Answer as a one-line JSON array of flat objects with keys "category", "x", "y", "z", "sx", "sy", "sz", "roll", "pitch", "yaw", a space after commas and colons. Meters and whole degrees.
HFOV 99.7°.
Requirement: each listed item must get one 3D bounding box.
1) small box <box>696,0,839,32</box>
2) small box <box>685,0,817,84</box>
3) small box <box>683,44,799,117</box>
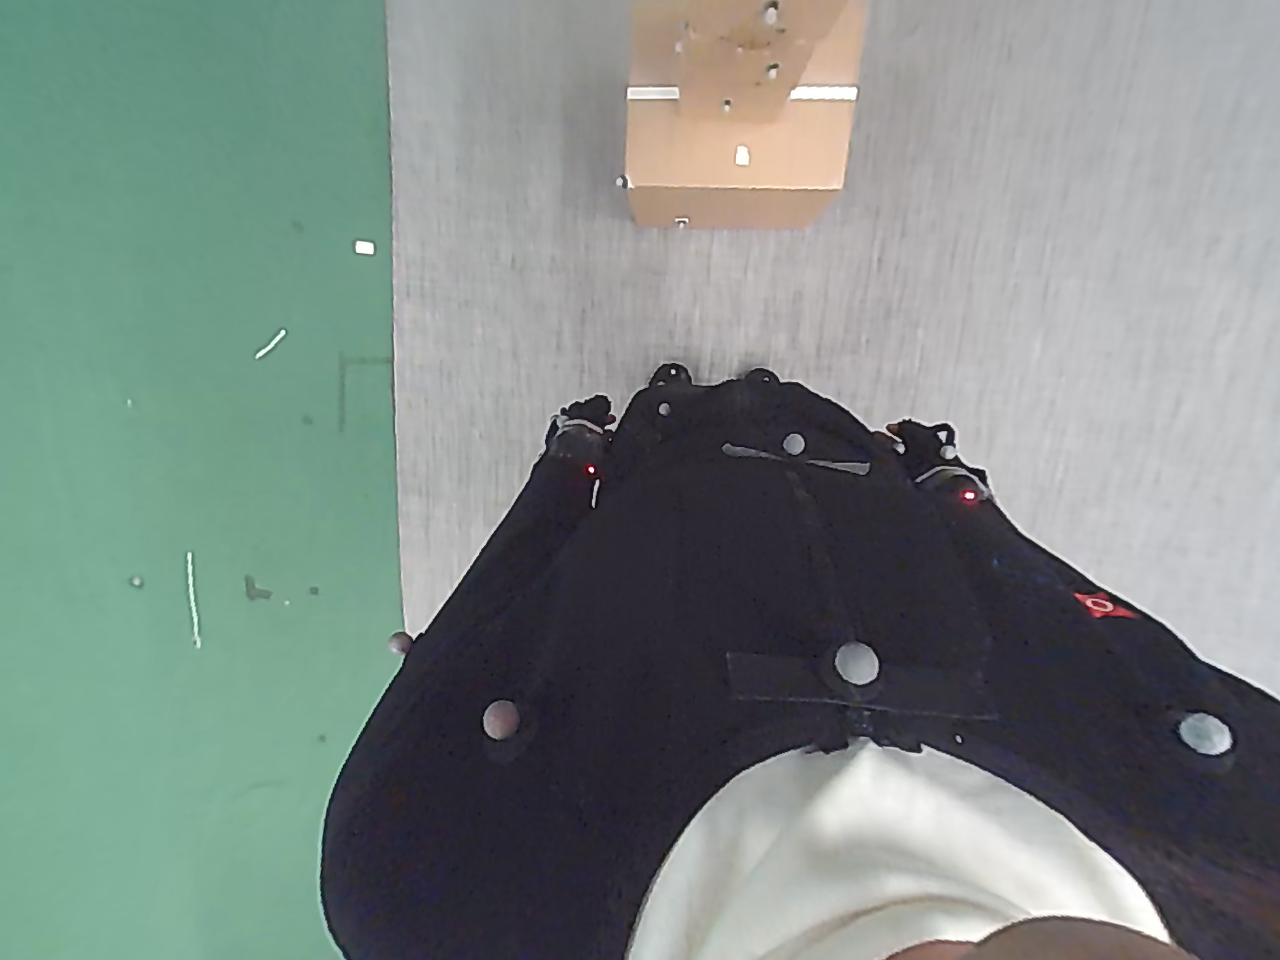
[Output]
[{"category": "small box", "x": 0.146, "y": -0.608, "z": 0.566, "sx": 0.168, "sy": 0.176, "sz": 0.179, "roll": 4, "pitch": 110, "yaw": 3}, {"category": "small box", "x": 0.149, "y": -0.659, "z": 0.722, "sx": 0.168, "sy": 0.176, "sz": 0.179, "roll": 4, "pitch": 108, "yaw": 3}, {"category": "small box", "x": 0.162, "y": -0.708, "z": 0.875, "sx": 0.179, "sy": 0.176, "sz": 0.168, "roll": 3, "pitch": 109, "yaw": 4}]
